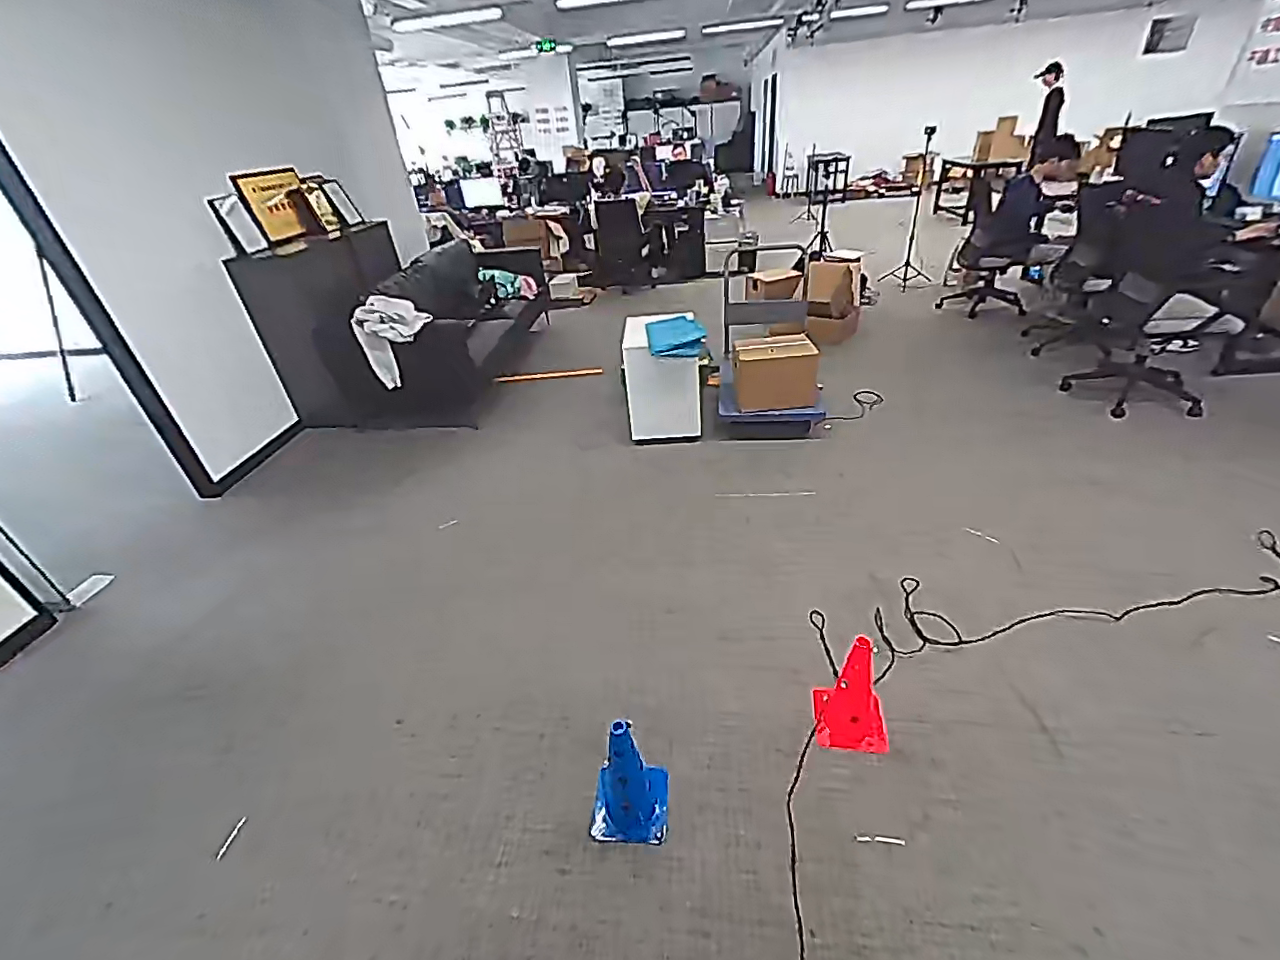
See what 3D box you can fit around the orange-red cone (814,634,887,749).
[{"bbox_3d":[0.614,0.573,1.541,0.198,0.360,0.199,1,35,13],"label":"orange-red cone"}]
